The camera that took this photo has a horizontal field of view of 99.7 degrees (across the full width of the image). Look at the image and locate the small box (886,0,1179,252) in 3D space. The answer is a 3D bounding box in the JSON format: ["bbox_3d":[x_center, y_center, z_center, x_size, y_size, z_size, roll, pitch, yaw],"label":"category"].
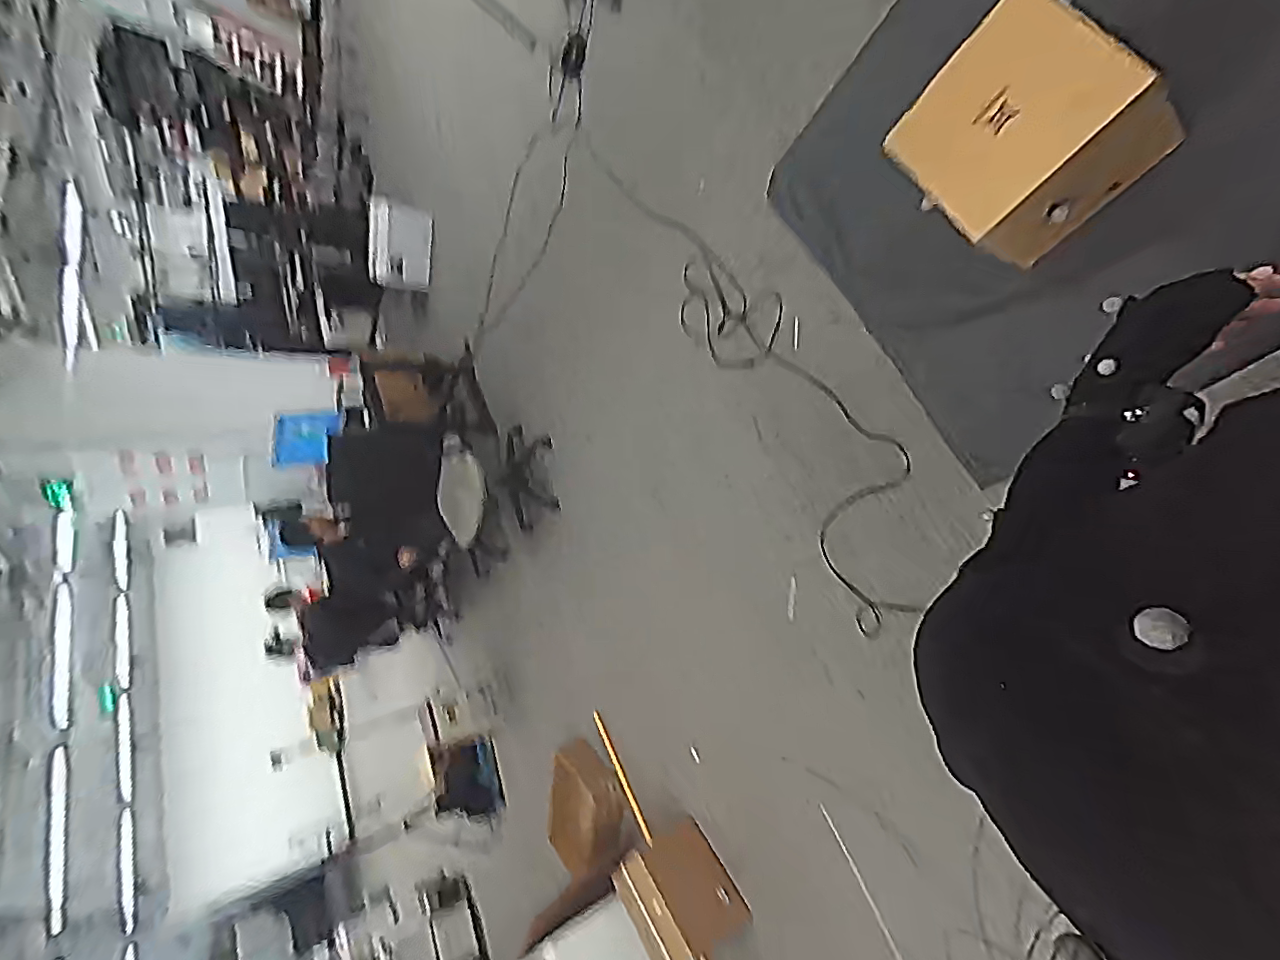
[{"bbox_3d":[0.416,-0.371,0.582,0.168,0.176,0.179,-49,57,43],"label":"small box"}]
